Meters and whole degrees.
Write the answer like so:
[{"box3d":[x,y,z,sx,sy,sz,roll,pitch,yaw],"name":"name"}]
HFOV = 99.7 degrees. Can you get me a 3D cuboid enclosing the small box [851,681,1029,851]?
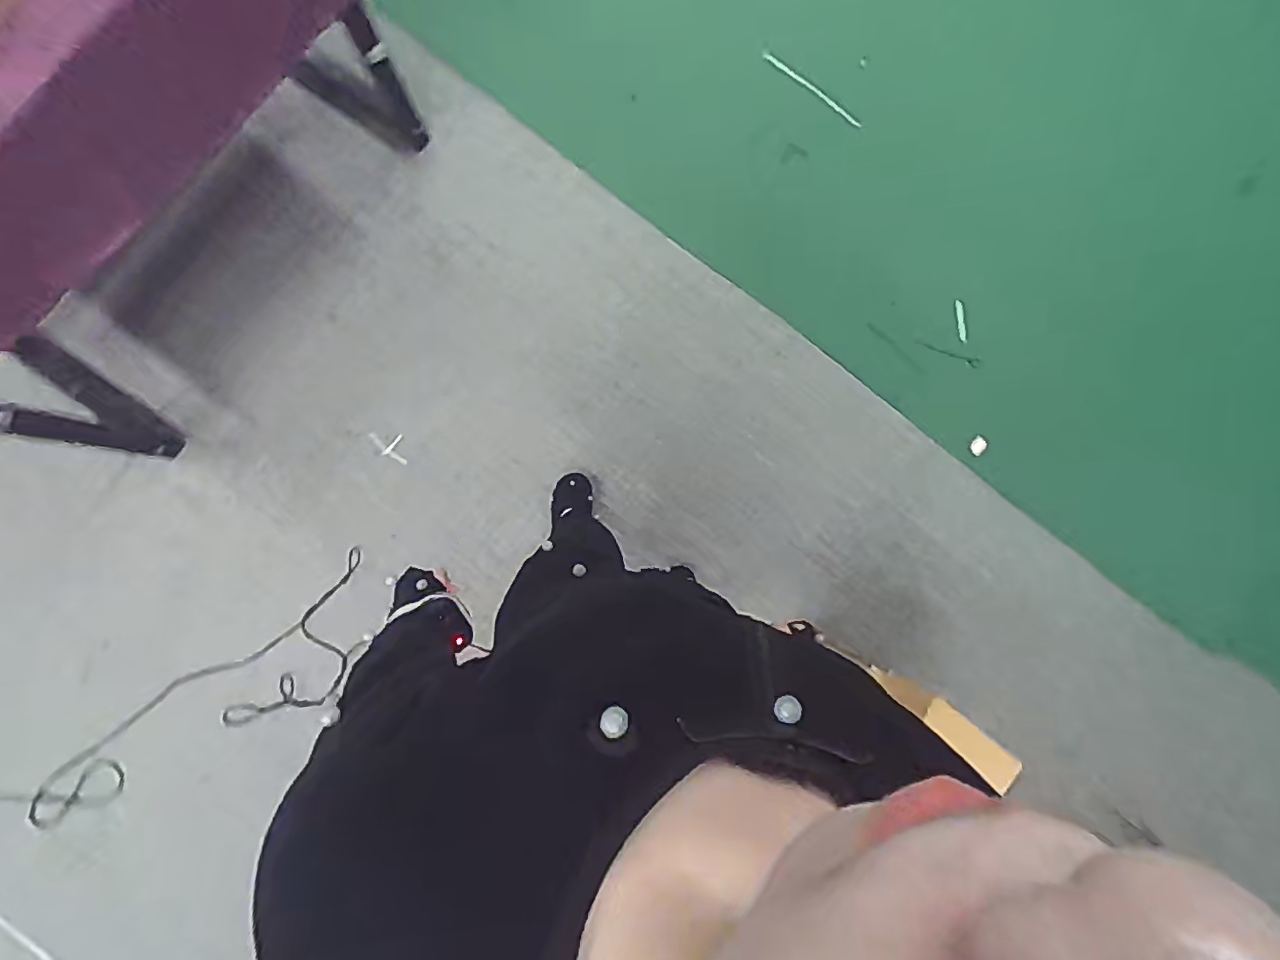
[{"box3d":[0.514,0.486,0.951,0.179,0.176,0.168,39,86,4],"name":"small box"}]
